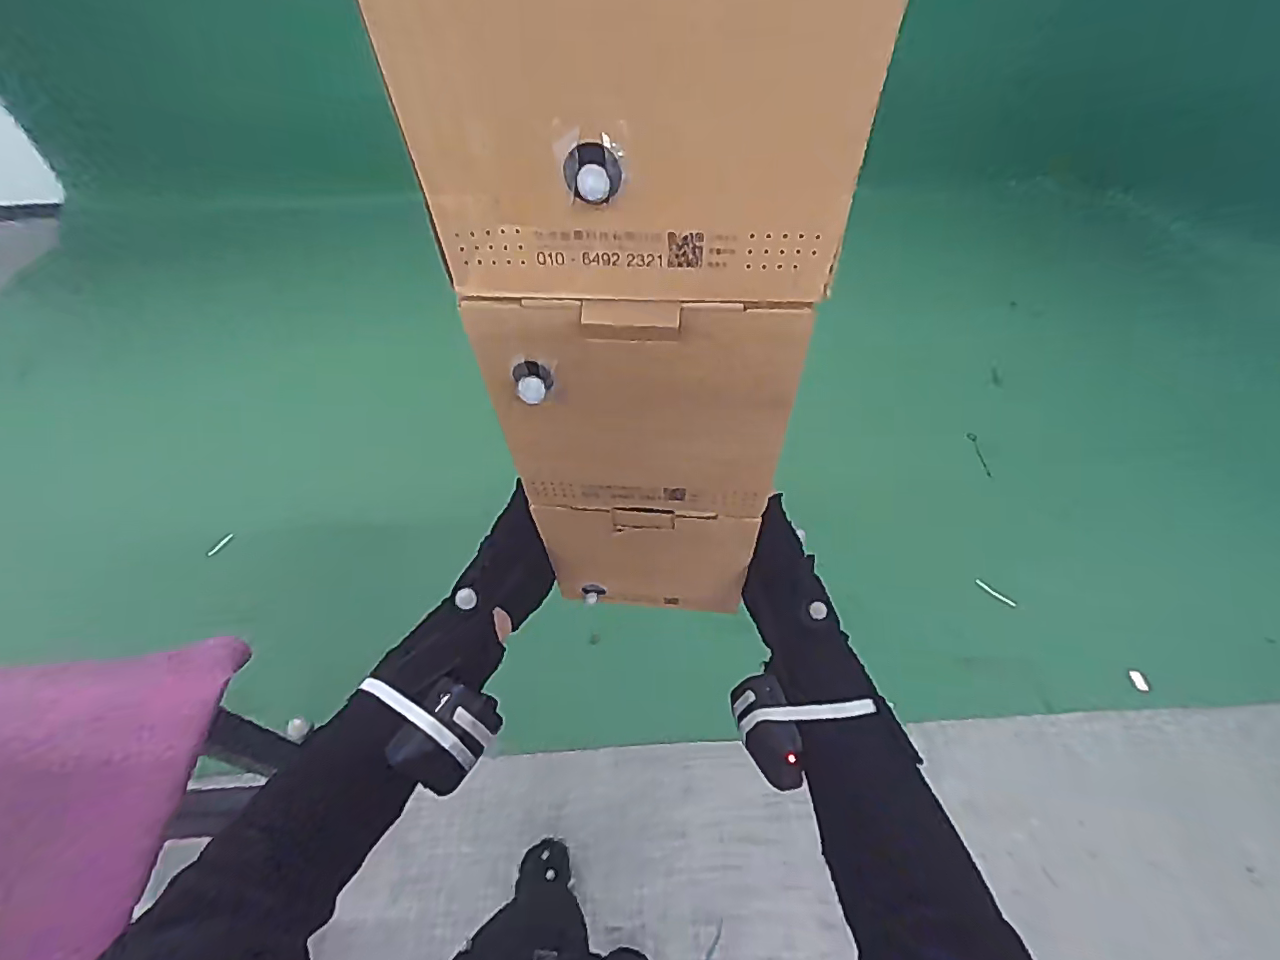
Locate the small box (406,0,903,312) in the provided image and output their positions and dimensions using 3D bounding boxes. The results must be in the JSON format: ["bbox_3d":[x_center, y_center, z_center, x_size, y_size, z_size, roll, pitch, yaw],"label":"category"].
[{"bbox_3d":[0.006,-0.199,0.240,0.168,0.176,0.179,2,54,4],"label":"small box"}]

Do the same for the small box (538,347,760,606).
[{"bbox_3d":[0.018,0.001,0.499,0.168,0.176,0.179,4,53,5],"label":"small box"}]
